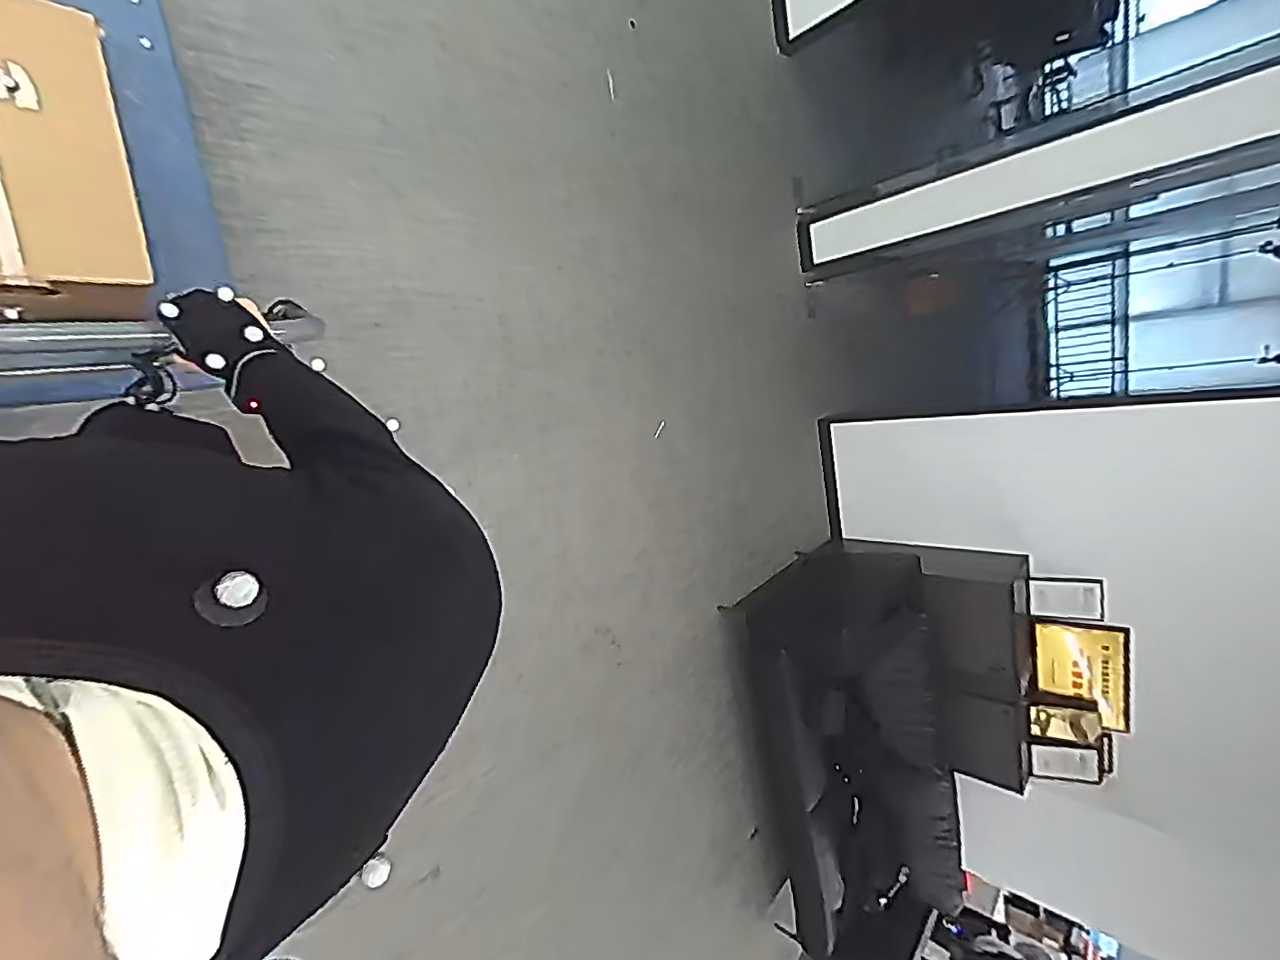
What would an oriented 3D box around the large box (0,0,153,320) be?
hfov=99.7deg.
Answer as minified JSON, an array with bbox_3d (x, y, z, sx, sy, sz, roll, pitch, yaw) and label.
[{"bbox_3d":[-1.037,-0.486,0.864,0.320,0.320,0.408,-15,101,-44],"label":"large box"}]
